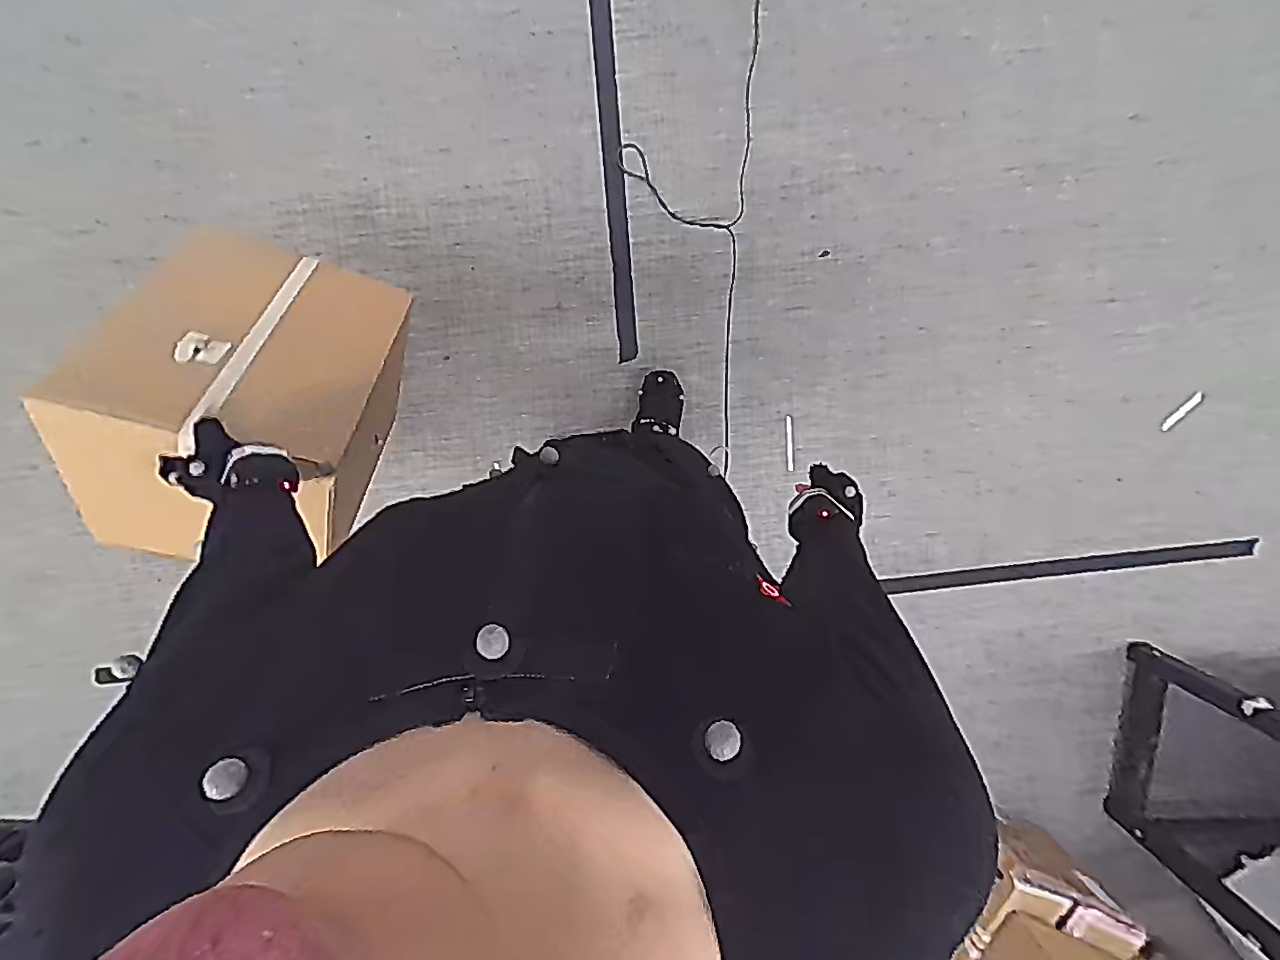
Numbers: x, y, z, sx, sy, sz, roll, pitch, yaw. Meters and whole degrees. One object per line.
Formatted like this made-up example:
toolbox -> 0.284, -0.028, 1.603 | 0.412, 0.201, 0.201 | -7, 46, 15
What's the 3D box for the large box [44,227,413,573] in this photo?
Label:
large box -> -0.590, -0.119, 0.873 | 0.320, 0.408, 0.320 | 15, 138, -19
